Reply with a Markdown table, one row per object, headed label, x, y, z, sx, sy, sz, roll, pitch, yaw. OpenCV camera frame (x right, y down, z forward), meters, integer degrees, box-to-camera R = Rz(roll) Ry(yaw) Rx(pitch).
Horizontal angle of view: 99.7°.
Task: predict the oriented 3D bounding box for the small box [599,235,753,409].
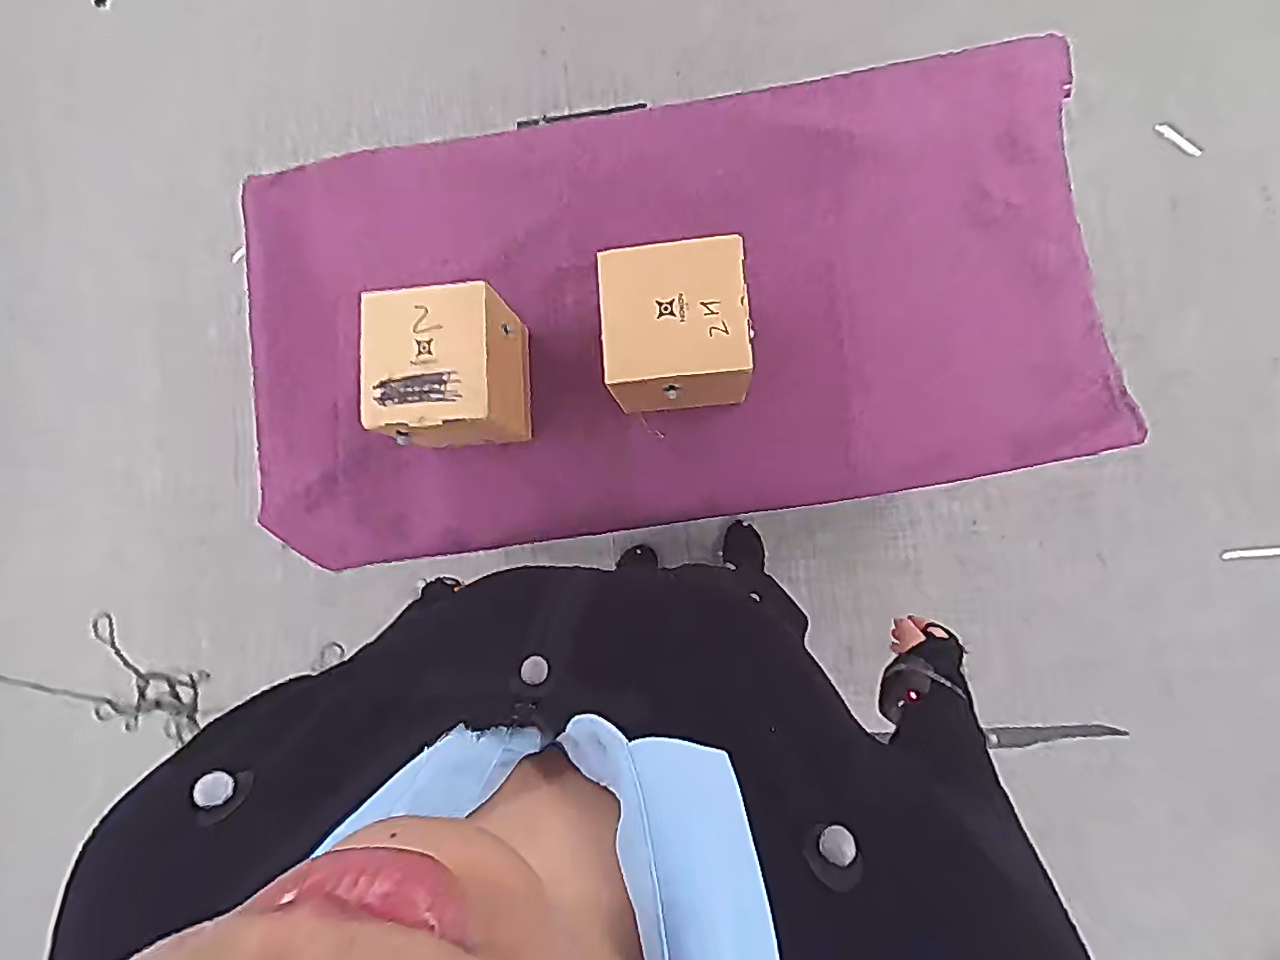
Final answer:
| label | x | y | z | sx | sy | sz | roll | pitch | yaw |
| --- | --- | --- | --- | --- | --- | --- | --- | --- | --- |
| small box | 0.050 | -0.194 | 0.713 | 0.179 | 0.176 | 0.168 | -4 | 85 | 6 |
